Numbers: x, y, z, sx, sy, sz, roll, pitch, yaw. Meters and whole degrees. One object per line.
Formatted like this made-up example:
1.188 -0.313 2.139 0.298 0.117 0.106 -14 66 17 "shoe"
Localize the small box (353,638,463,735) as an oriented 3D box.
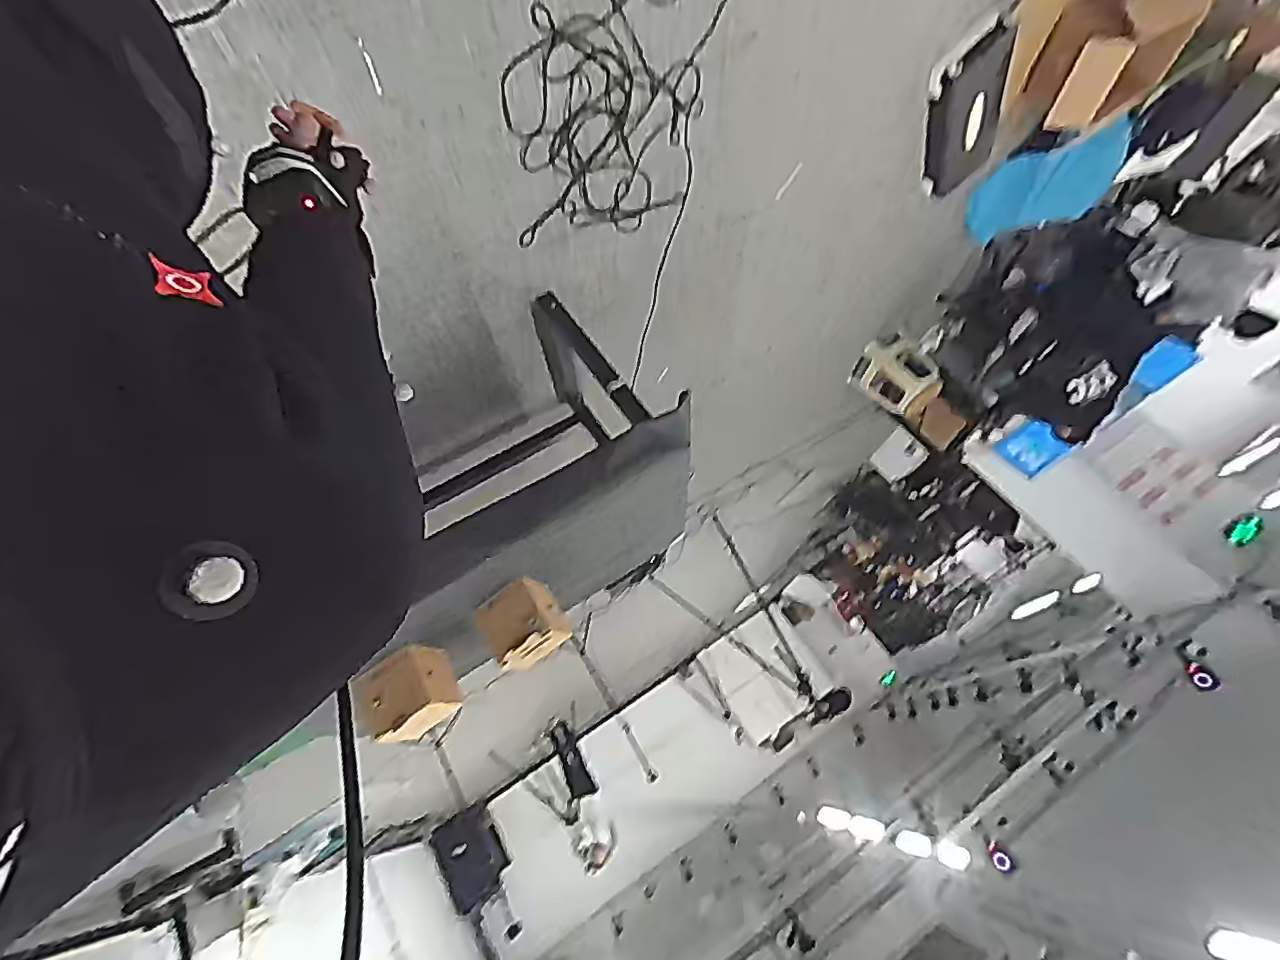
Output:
-0.594 0.523 1.383 0.168 0.176 0.179 -34 157 -2 "small box"
